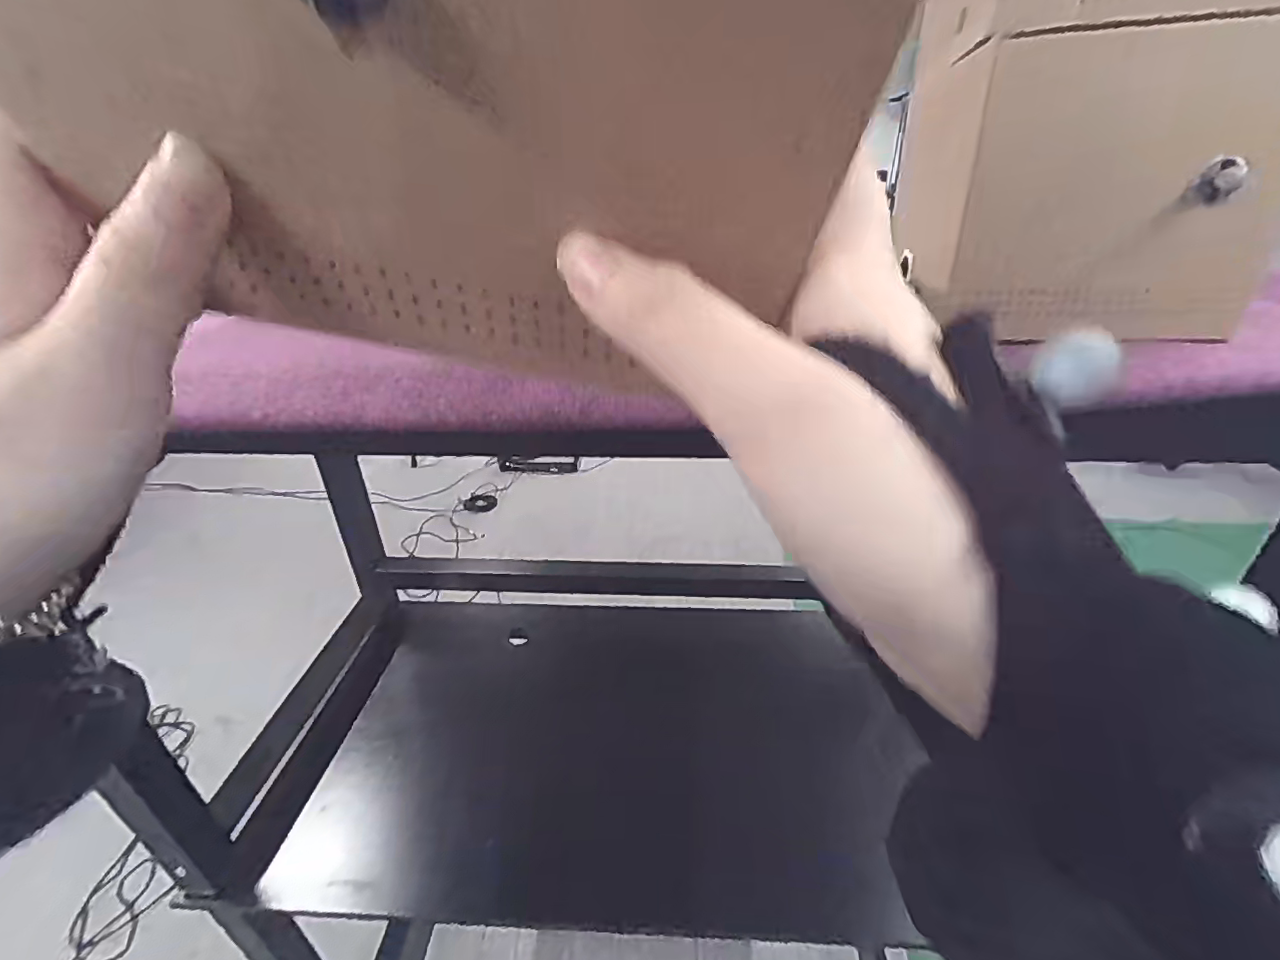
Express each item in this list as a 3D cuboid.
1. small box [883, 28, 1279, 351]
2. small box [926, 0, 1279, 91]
[{"bbox_3d":[0.297,-0.194,0.393,0.179,0.176,0.168,1,26,9],"label":"small box"},{"bbox_3d":[0.291,-0.343,0.327,0.179,0.176,0.168,4,26,11],"label":"small box"}]
